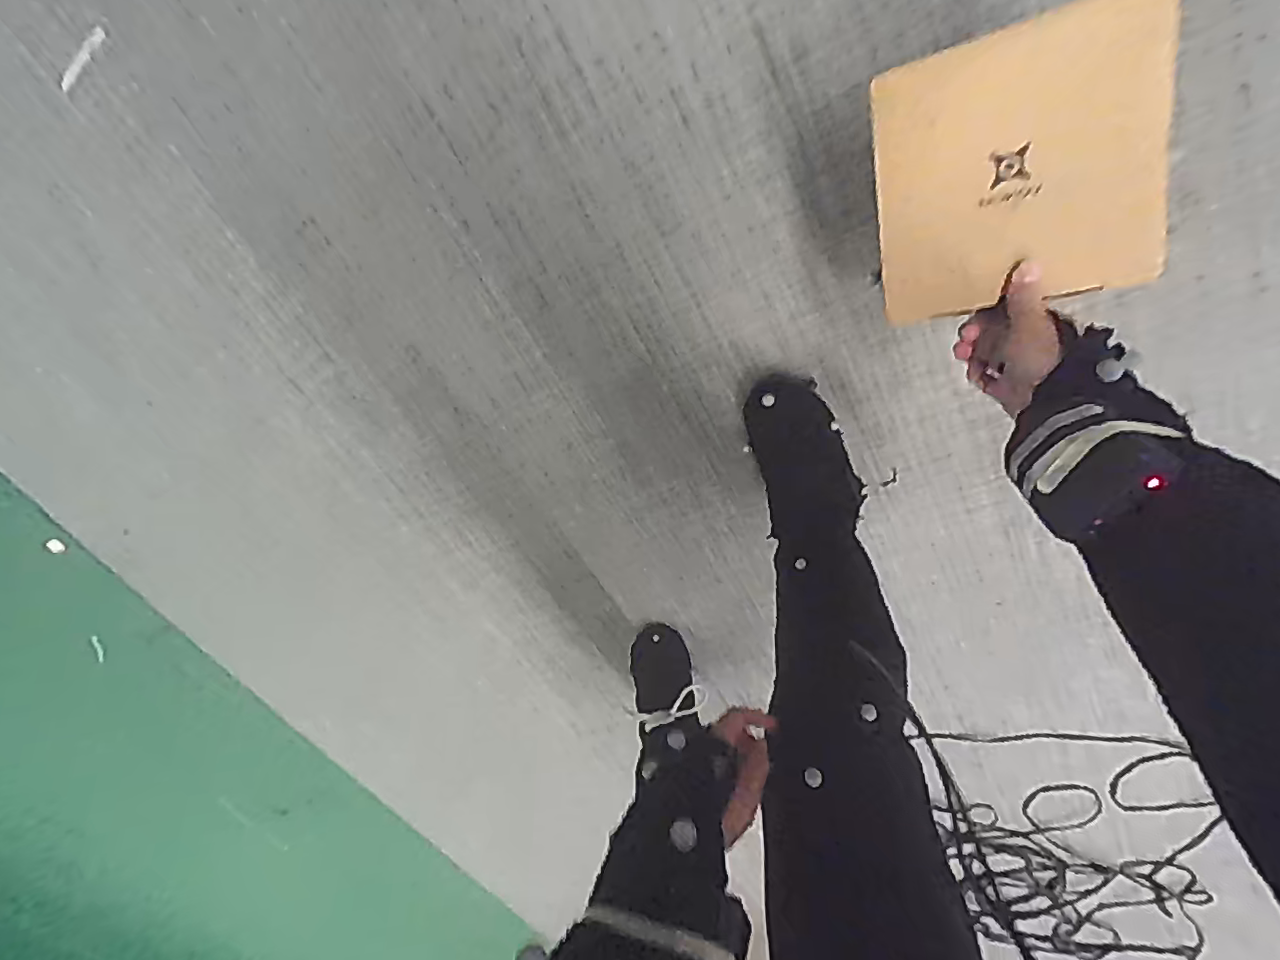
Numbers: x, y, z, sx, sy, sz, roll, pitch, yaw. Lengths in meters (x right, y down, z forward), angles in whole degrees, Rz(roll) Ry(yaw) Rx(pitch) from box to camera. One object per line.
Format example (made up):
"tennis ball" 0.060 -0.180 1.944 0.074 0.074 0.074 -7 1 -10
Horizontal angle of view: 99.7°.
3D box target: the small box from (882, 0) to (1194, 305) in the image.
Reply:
"small box" 0.287 -0.241 0.426 0.168 0.176 0.179 -2 107 29
